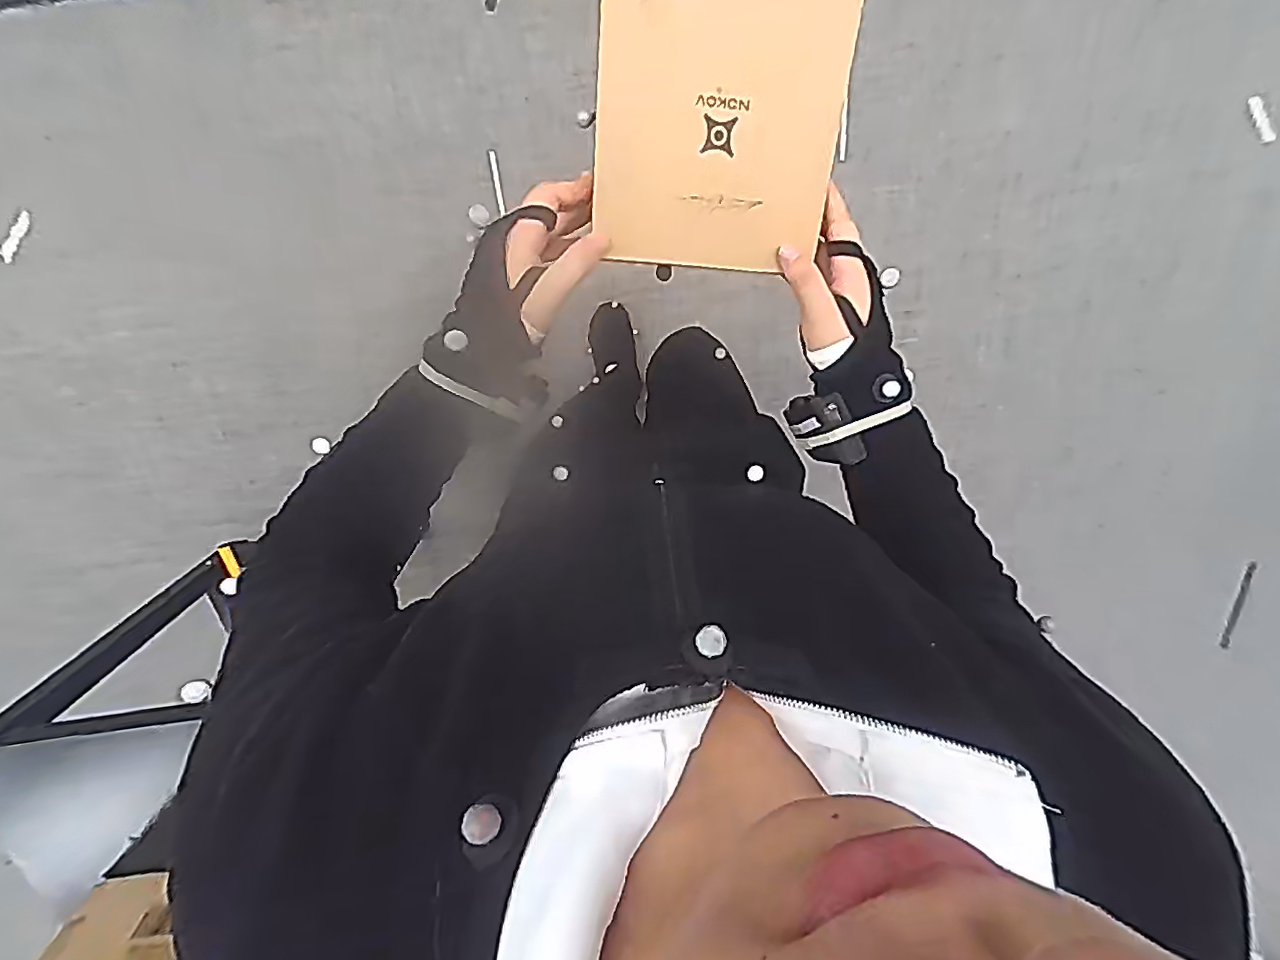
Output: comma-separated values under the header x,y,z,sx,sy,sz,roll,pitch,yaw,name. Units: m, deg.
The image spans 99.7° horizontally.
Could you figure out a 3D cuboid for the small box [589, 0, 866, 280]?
x,y,z,sx,sy,sz,roll,pitch,yaw,name
0.046,-0.264,0.431,0.168,0.176,0.179,3,114,-6,small box
